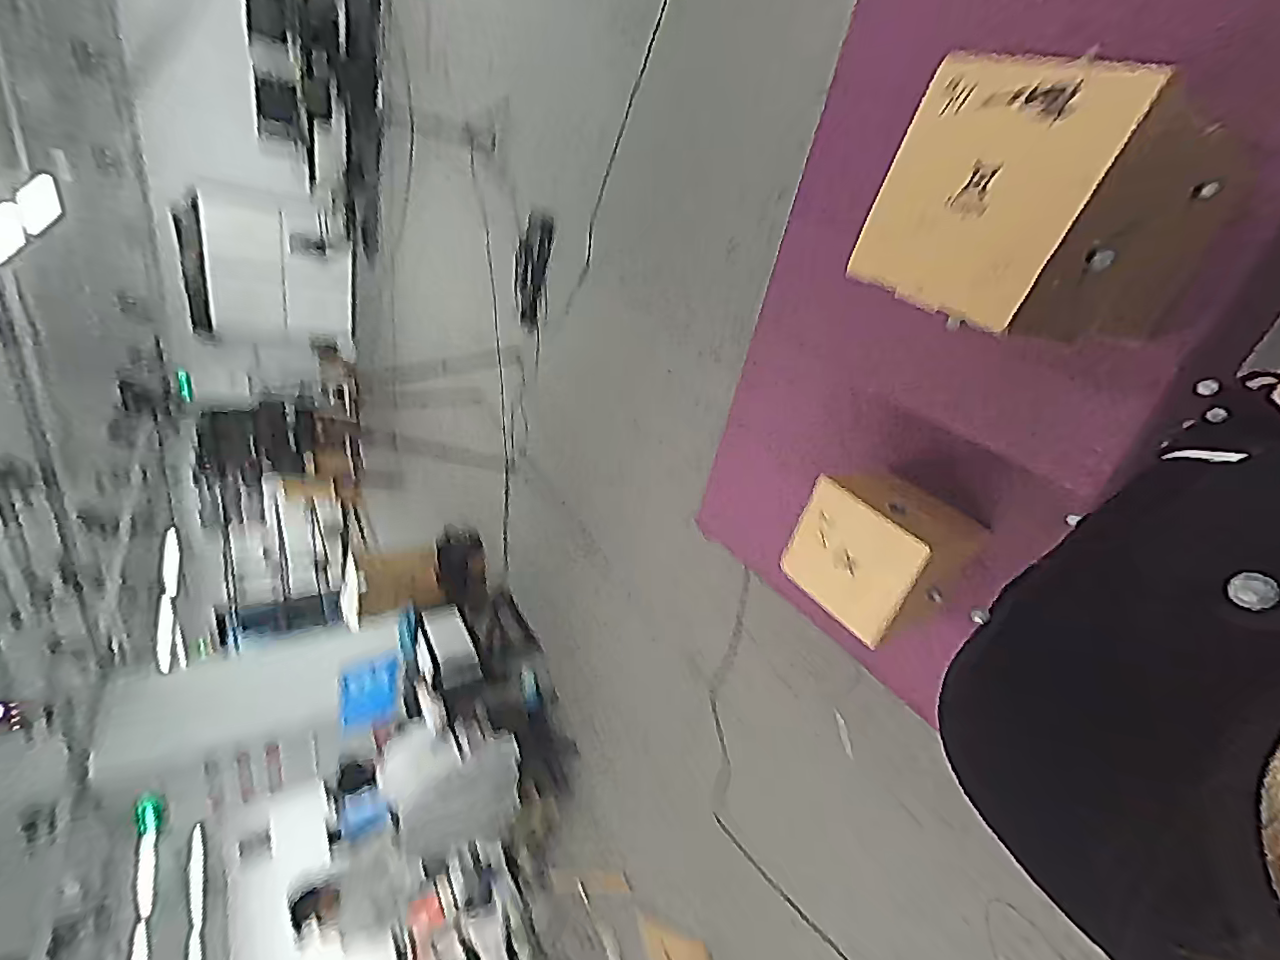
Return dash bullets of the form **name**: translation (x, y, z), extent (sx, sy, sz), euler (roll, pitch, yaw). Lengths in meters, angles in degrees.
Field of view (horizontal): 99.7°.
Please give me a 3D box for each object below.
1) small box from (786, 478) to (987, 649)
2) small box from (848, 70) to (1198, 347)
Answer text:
- **small box**: translation (0.354, 0.107, 0.783), extent (0.179, 0.176, 0.168), euler (44, 128, 43)
- **small box**: translation (0.333, -0.231, 0.484), extent (0.168, 0.176, 0.179), euler (48, 131, 41)
